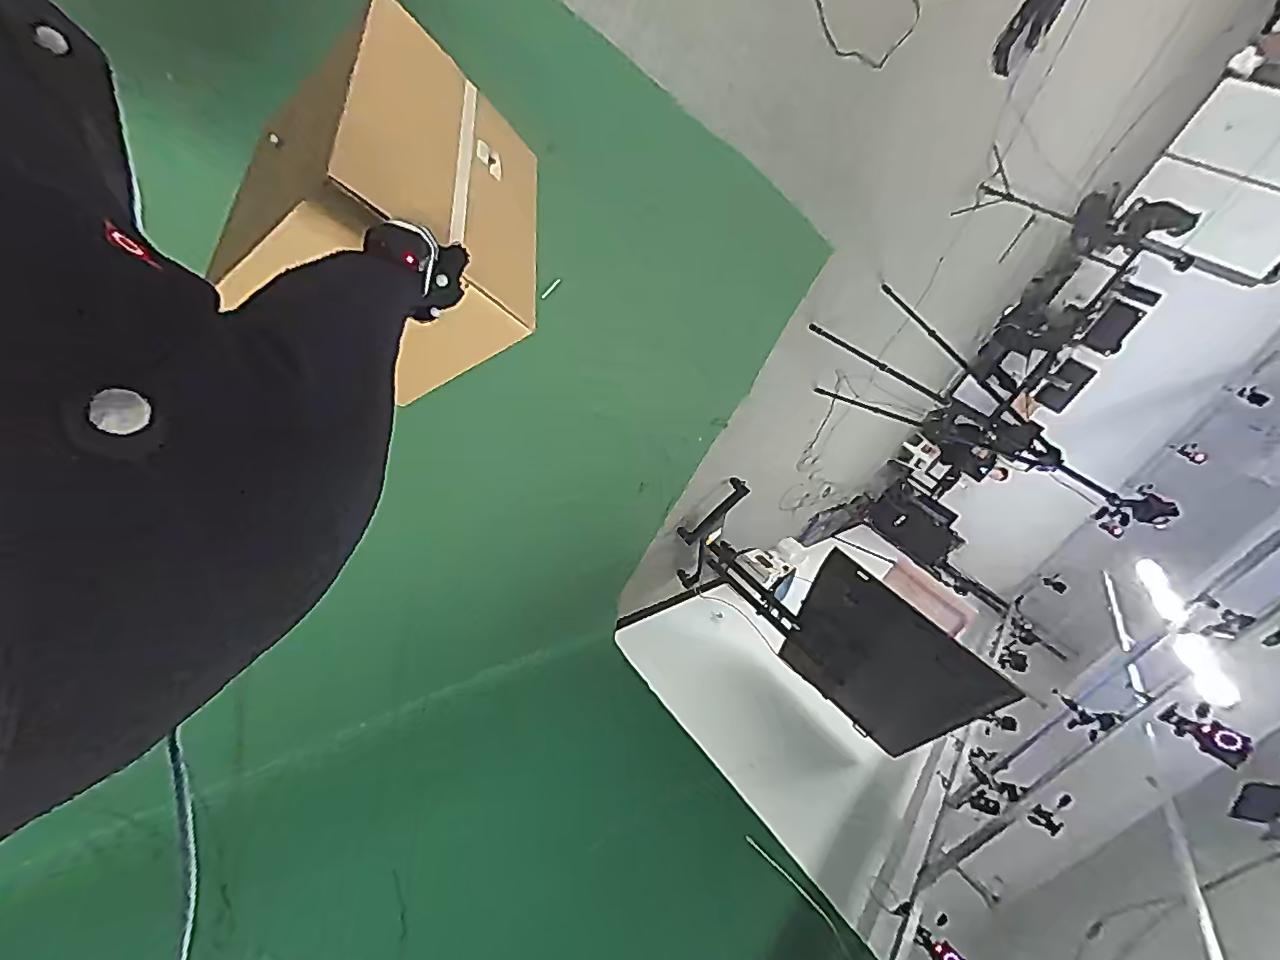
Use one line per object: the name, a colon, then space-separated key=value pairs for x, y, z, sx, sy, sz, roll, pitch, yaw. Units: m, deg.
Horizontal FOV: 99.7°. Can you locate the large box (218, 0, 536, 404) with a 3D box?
large box: x=-0.384 y=-0.395 z=0.848 sx=0.320 sy=0.408 sz=0.320 roll=-21 pitch=151 yaw=28
